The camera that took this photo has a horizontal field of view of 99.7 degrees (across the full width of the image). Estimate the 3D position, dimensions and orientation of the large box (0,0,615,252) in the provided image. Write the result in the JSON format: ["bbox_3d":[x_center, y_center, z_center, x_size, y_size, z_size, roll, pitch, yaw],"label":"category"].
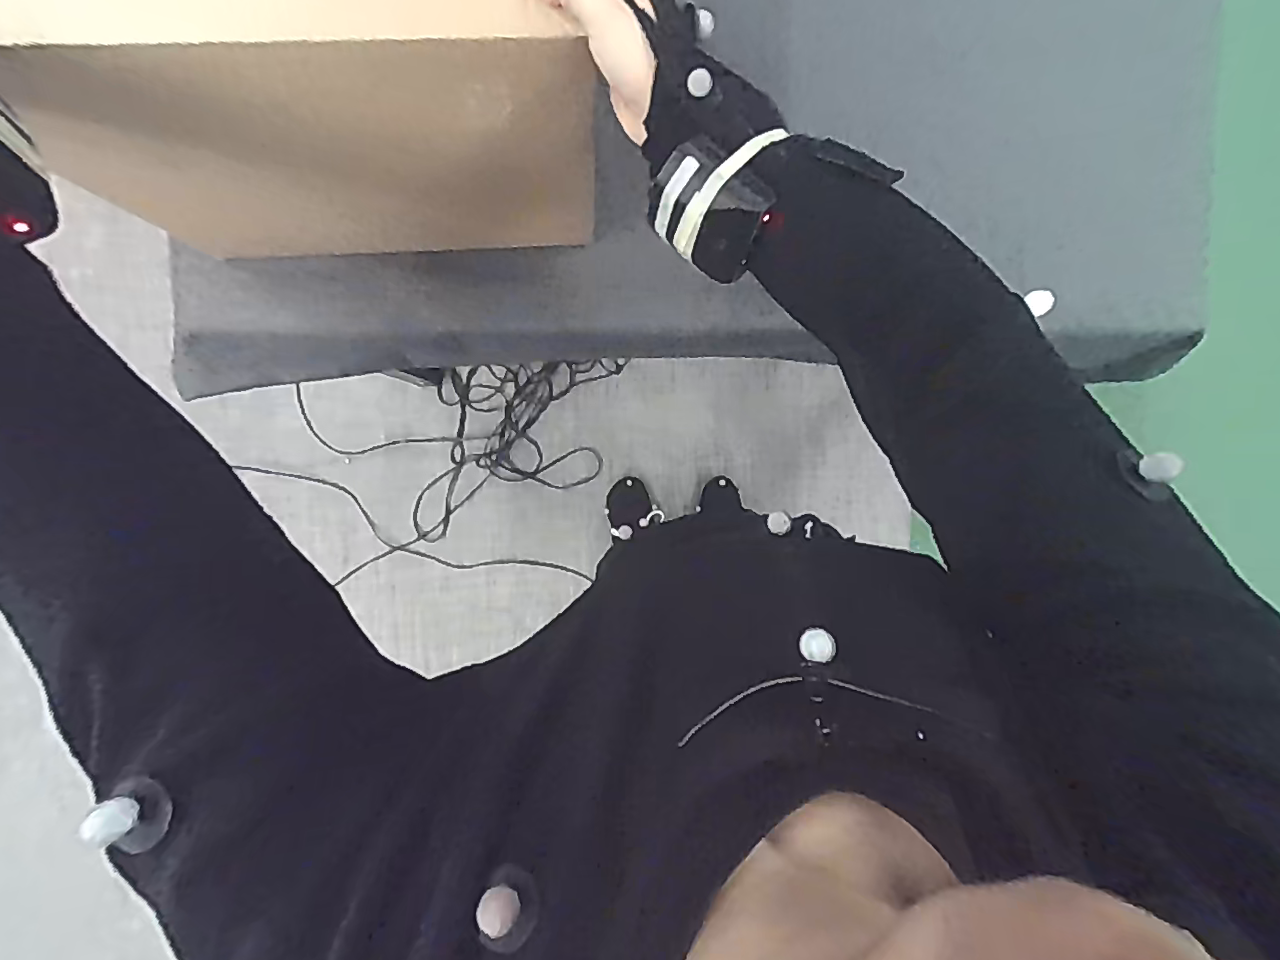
[{"bbox_3d":[-0.244,-0.400,0.427,0.408,0.320,0.320,-6,94,-6],"label":"large box"}]
